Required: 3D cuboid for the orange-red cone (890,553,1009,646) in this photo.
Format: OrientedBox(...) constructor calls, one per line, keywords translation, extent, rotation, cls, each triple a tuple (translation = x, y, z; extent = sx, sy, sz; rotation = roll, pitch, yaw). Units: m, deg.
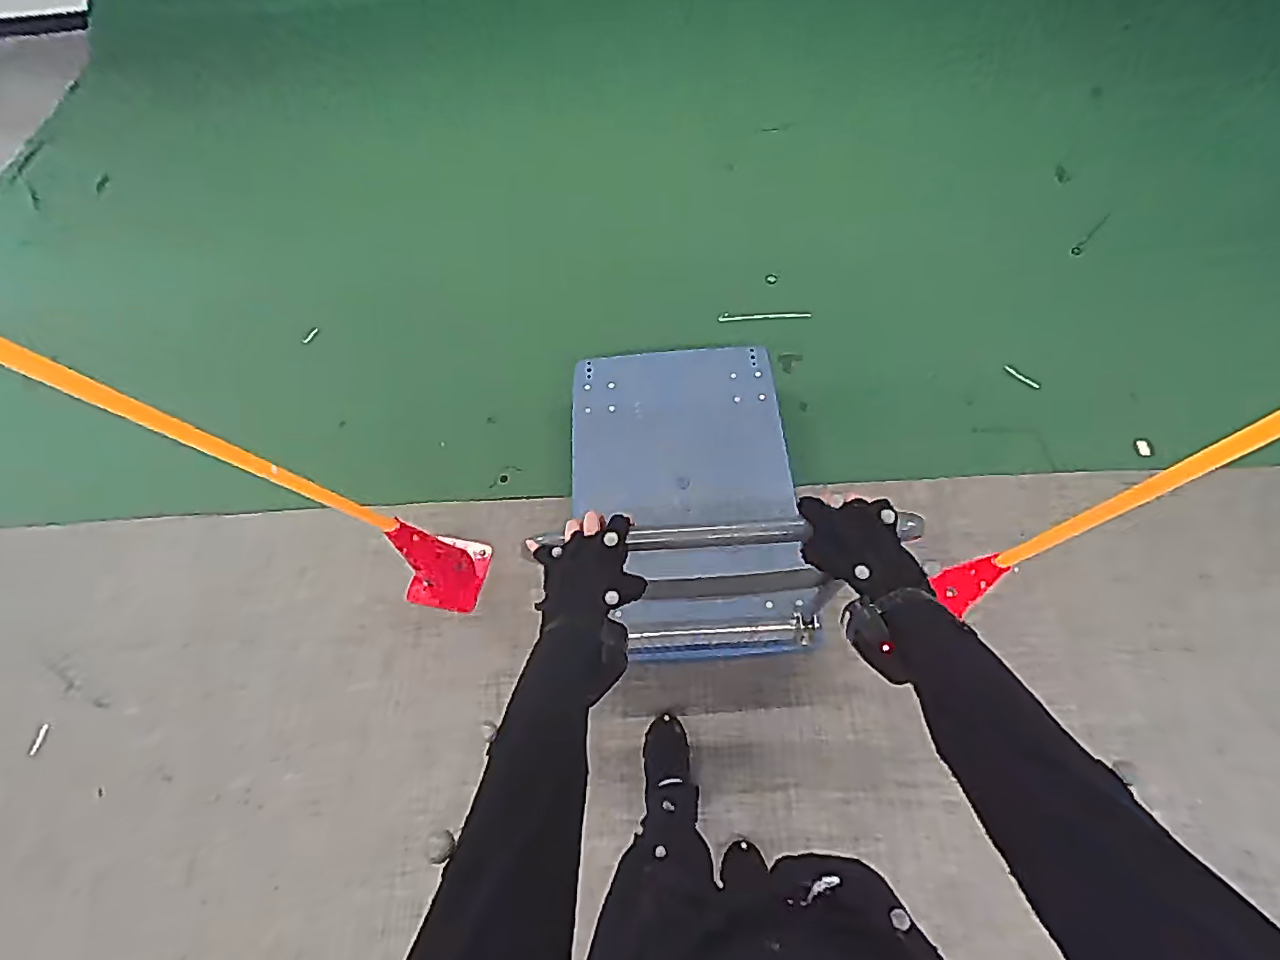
OrientedBox(translation=(0.744, 0.244, 1.254), extent=(0.198, 0.360, 0.199), rotation=(7, 65, 8), cls="orange-red cone")
